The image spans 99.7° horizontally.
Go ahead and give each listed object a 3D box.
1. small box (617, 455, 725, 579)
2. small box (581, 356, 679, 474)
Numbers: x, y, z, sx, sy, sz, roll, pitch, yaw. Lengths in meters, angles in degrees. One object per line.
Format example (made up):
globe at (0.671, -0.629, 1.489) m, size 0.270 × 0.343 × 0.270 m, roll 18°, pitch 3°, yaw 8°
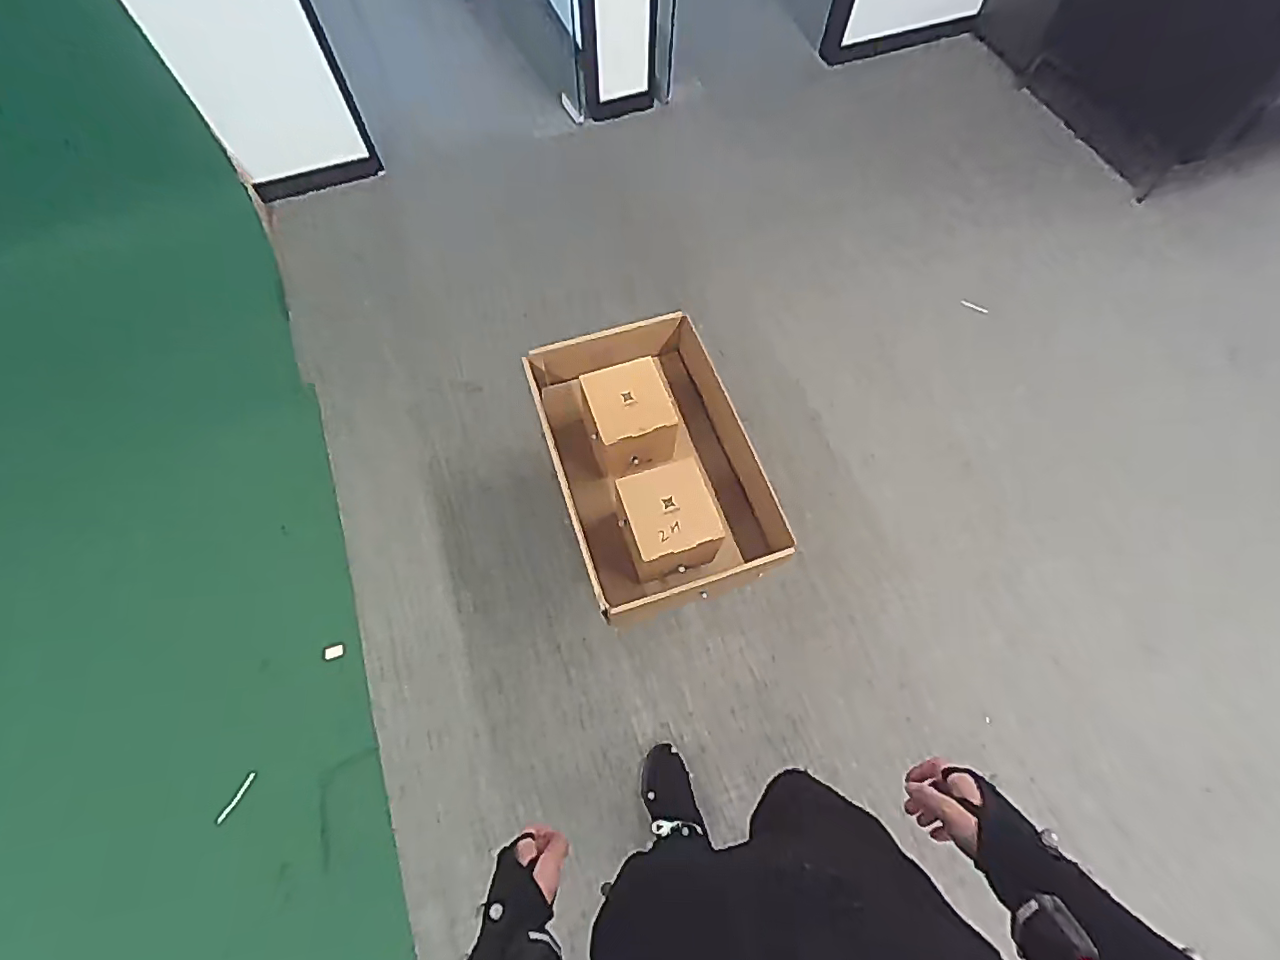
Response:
small box at (0.055, 0.079, 1.095) m, size 0.168 × 0.176 × 0.179 m, roll -17°, pitch 67°, yaw -8°
small box at (-0.027, -0.140, 1.198) m, size 0.168 × 0.176 × 0.179 m, roll -18°, pitch 69°, yaw -9°
